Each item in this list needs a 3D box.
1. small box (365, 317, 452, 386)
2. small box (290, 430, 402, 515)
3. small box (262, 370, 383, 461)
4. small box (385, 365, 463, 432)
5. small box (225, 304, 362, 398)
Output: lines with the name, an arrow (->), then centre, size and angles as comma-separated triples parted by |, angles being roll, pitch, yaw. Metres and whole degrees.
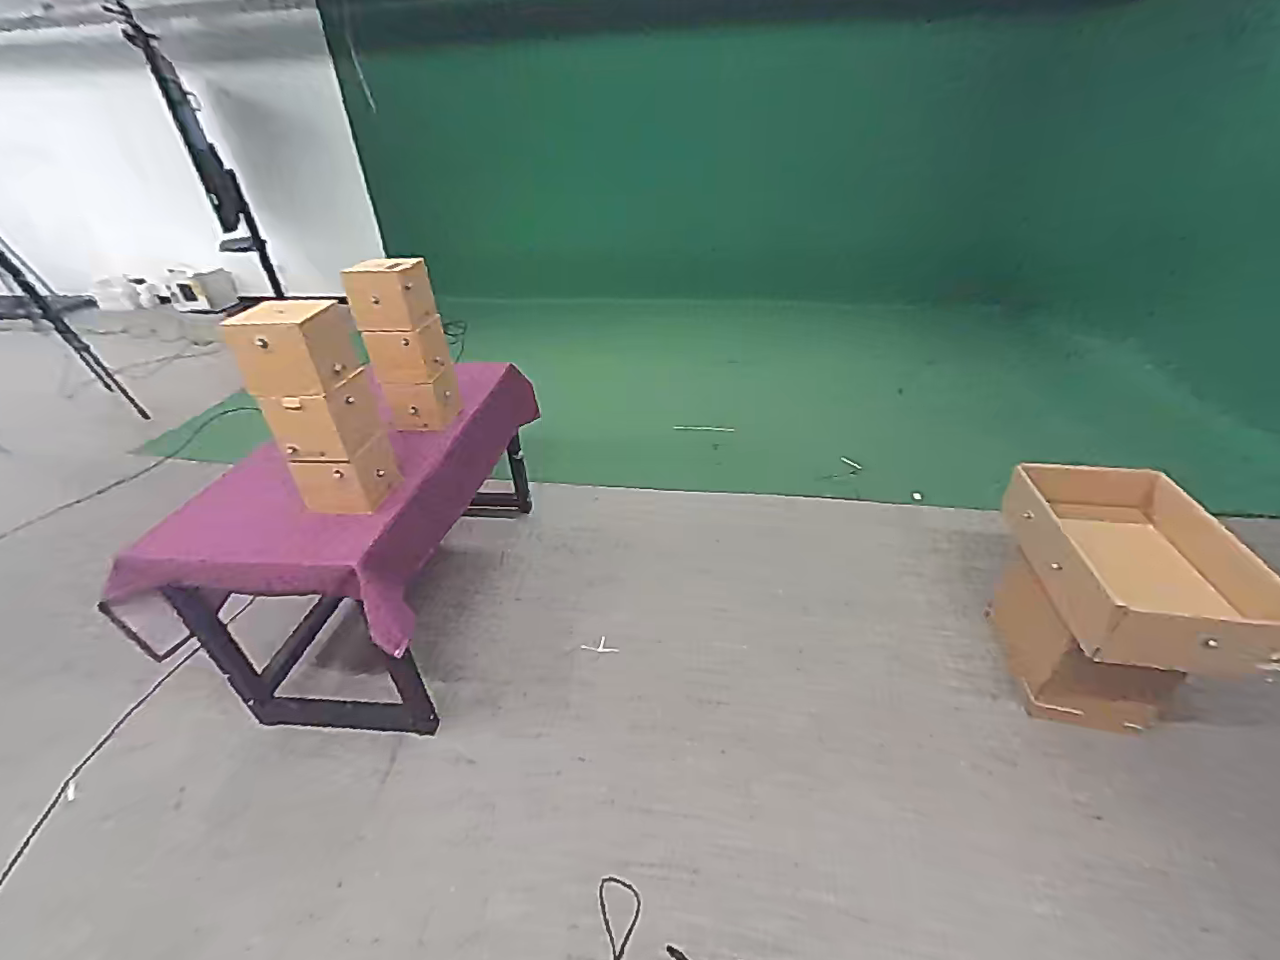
small box -> -0.715, -0.401, 1.690 | 0.179, 0.176, 0.168 | 2, 34, 6
small box -> -0.755, -0.020, 1.413 | 0.179, 0.176, 0.168 | 1, 33, 6
small box -> -0.760, -0.157, 1.321 | 0.168, 0.176, 0.179 | 1, 33, 6
small box -> -0.701, -0.267, 1.782 | 0.168, 0.176, 0.179 | 1, 34, 5
small box -> -0.777, -0.293, 1.232 | 0.179, 0.176, 0.168 | 0, 34, 4
